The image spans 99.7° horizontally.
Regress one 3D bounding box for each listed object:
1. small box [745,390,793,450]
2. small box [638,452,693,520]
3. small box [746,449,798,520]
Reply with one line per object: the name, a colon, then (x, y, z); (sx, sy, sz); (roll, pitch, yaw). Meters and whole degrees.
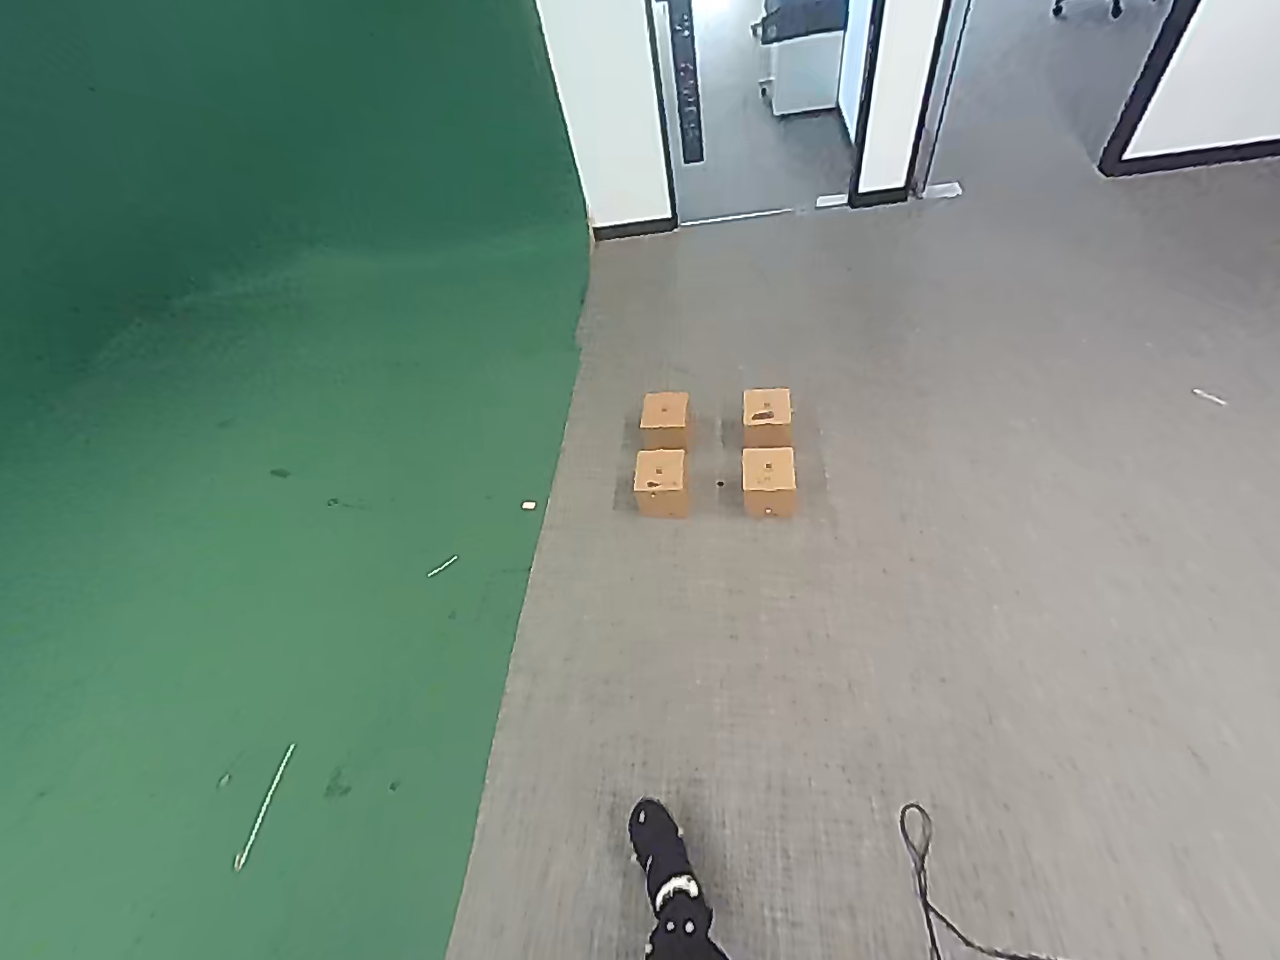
small box: (0.477, -0.208, 1.988); (0.168, 0.176, 0.179); (0, 53, 13)
small box: (0.094, 0.023, 1.904); (0.168, 0.176, 0.179); (-2, 52, 12)
small box: (0.443, 0.016, 1.827); (0.168, 0.176, 0.179); (-1, 53, 13)
